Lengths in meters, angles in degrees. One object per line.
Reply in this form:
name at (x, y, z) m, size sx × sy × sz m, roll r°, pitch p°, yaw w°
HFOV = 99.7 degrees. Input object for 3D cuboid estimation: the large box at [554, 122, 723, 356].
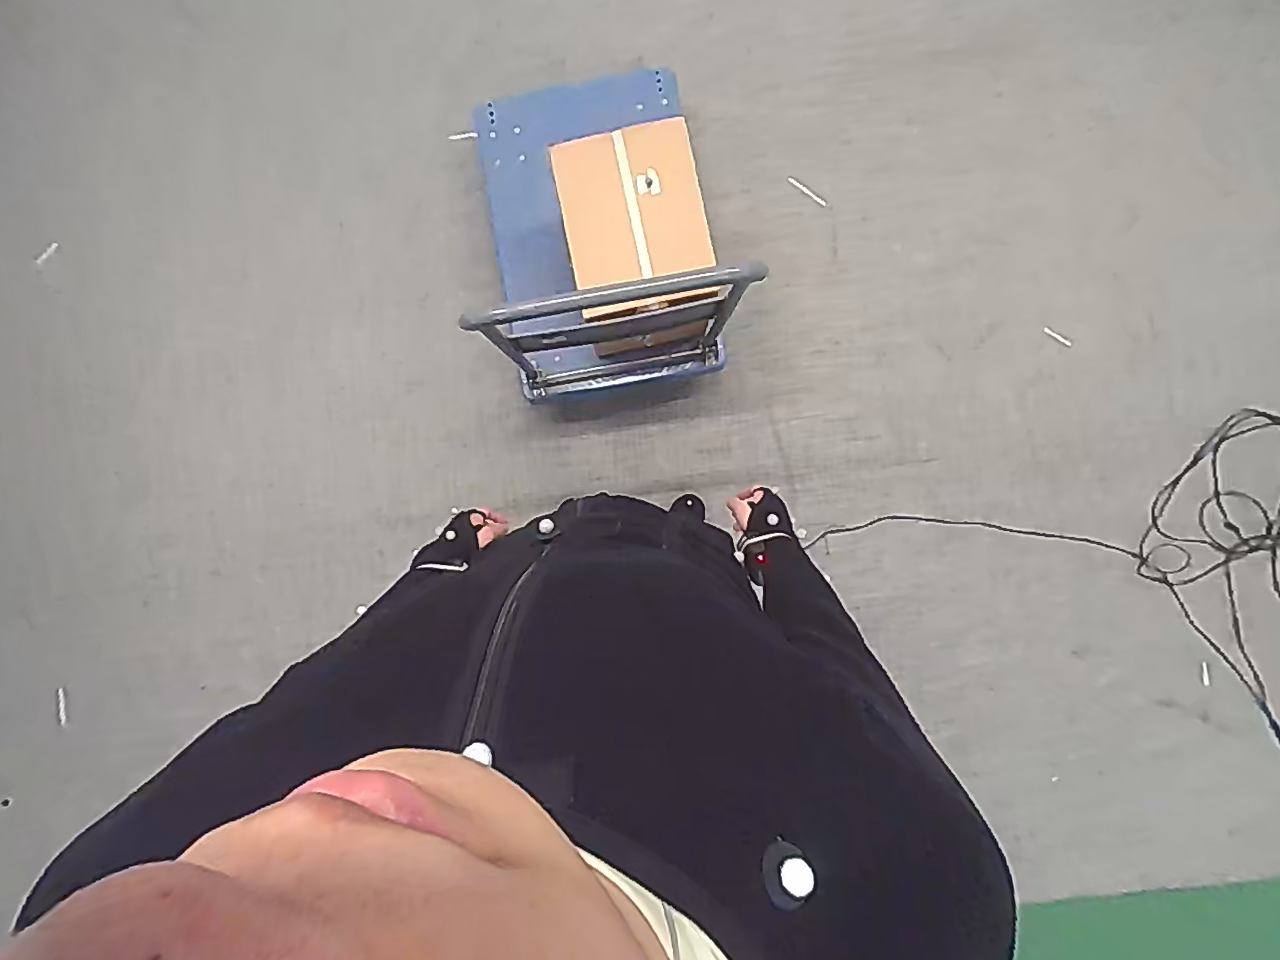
large box at (0.000, -0.572, 1.351) m, size 0.320 × 0.320 × 0.408 m, roll -11°, pitch 87°, yaw 0°
